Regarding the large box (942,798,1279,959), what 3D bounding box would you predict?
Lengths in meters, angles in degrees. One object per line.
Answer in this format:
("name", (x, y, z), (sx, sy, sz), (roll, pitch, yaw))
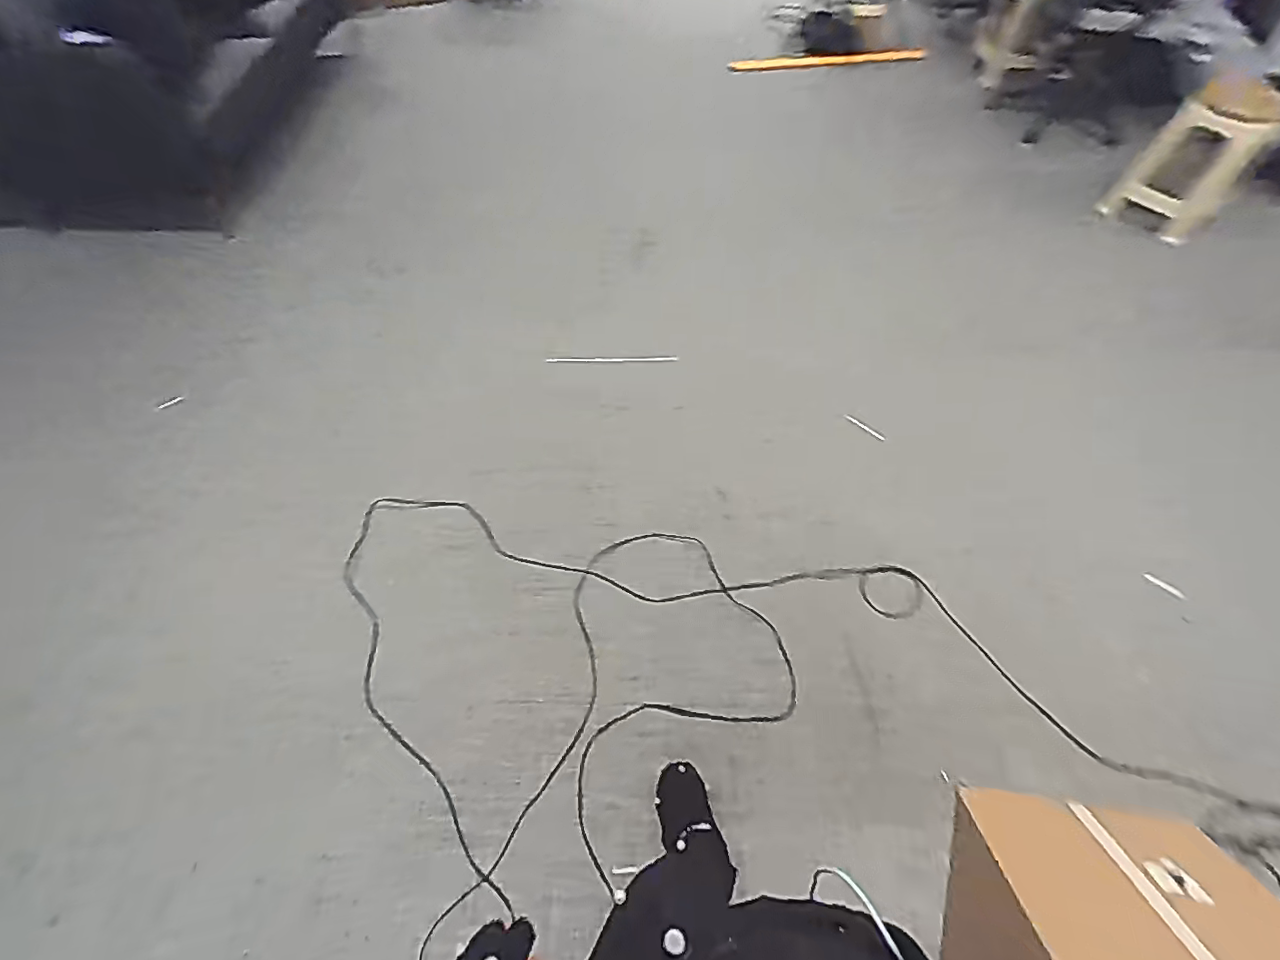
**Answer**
("large box", (0.591, 0.665, 0.629), (0.320, 0.408, 0.320), (5, 95, 12))
